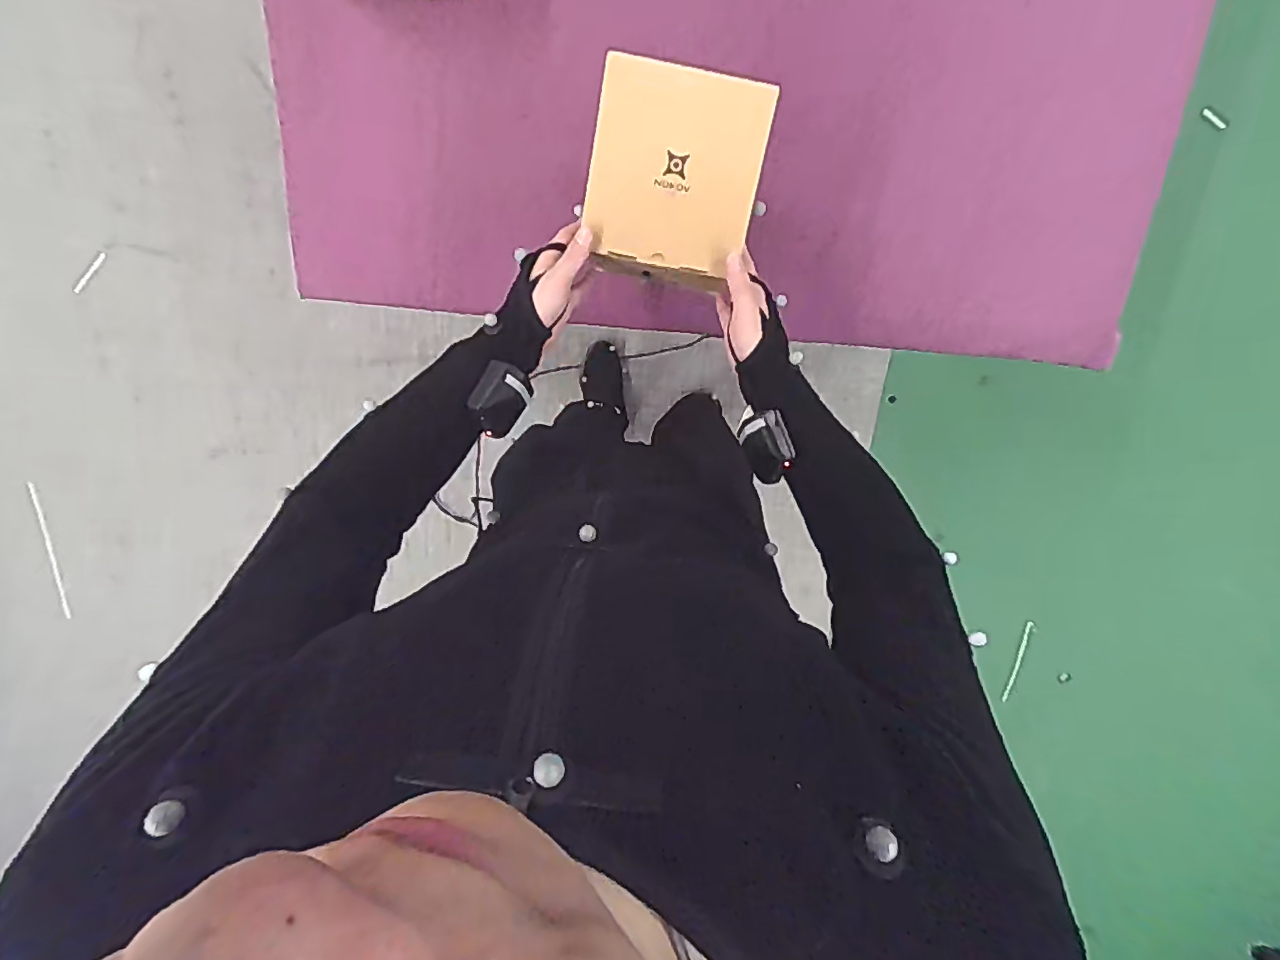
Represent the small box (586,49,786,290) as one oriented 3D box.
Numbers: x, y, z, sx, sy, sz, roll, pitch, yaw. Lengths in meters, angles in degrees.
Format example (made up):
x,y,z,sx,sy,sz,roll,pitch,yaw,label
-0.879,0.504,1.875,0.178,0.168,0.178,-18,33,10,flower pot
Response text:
x,y,z,sx,sy,sz,roll,pitch,yaw,label
0.041,-0.318,0.595,0.168,0.176,0.179,10,106,-2,small box
